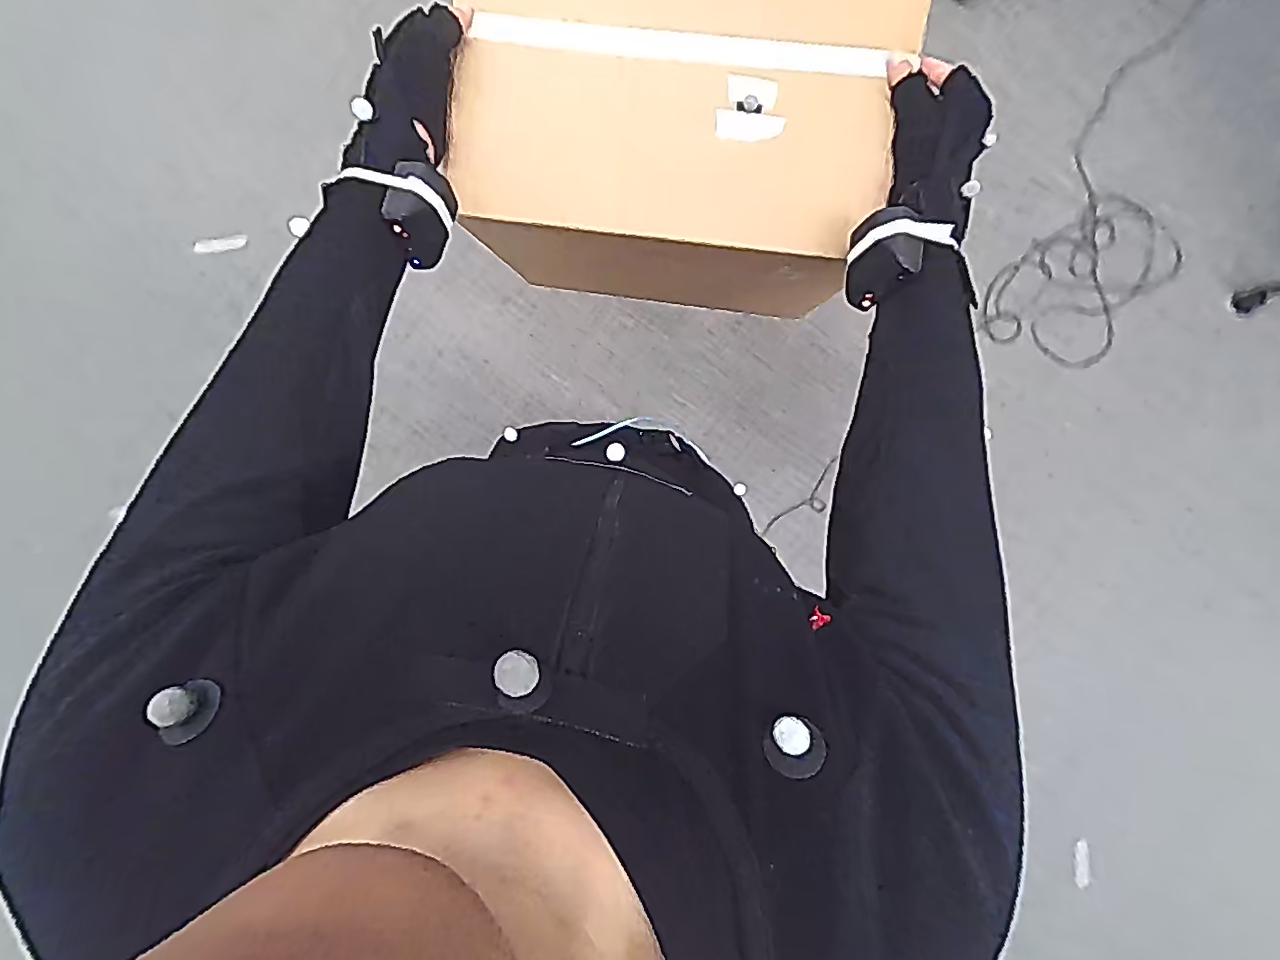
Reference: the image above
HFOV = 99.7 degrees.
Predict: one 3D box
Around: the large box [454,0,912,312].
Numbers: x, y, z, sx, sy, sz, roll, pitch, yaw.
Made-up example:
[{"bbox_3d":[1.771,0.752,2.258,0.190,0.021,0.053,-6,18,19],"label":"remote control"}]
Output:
[{"bbox_3d":[0.039,-0.394,0.631,0.408,0.320,0.320,6,98,2],"label":"large box"}]
